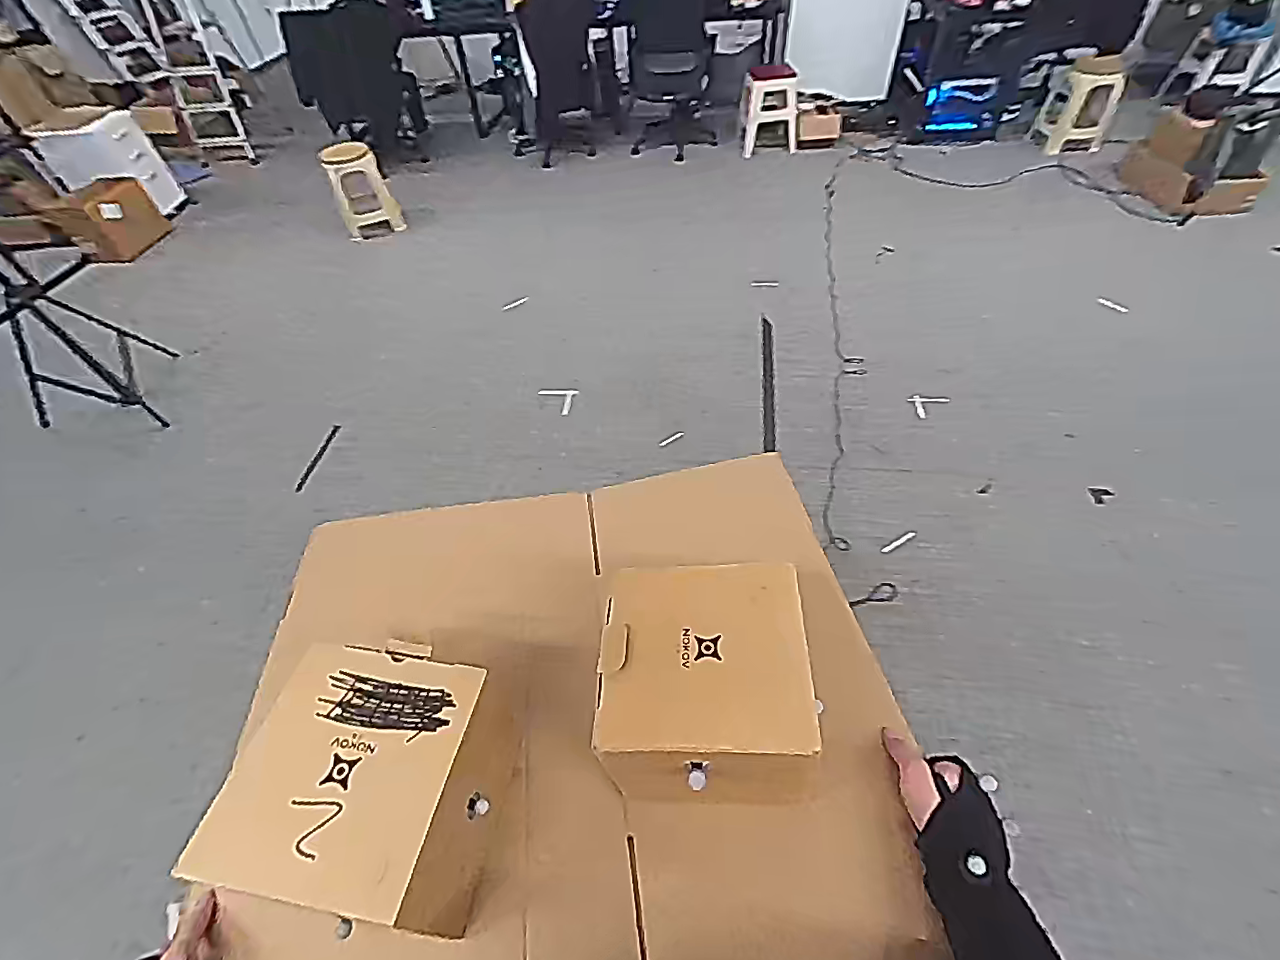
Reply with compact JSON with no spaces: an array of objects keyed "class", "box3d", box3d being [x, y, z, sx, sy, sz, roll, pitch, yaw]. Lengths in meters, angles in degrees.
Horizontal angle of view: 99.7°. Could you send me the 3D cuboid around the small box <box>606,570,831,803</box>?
[{"class":"small box","box3d":[0.077,0.203,0.528,0.179,0.176,0.168,-4,48,10]}]
